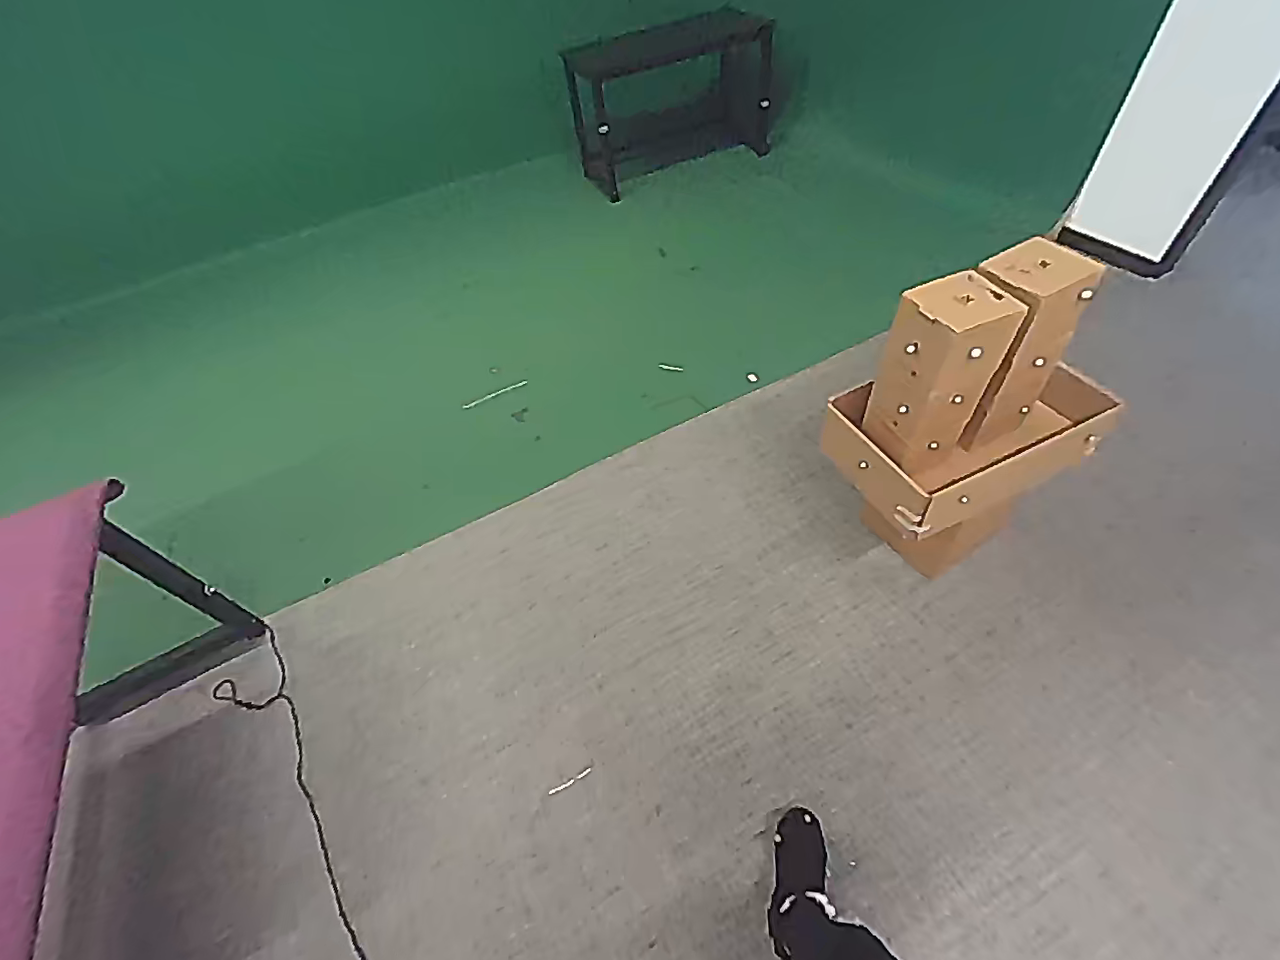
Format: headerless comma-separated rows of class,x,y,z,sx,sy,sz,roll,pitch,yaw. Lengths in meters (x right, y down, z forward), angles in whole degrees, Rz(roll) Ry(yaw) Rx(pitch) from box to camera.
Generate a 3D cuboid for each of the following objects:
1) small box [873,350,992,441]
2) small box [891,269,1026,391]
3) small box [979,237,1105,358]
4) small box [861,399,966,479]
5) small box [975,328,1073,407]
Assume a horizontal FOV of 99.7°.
small box,0.688,-0.221,1.302,0.179,0.176,0.168,-20,52,-9
small box,0.672,-0.320,1.173,0.179,0.176,0.168,-20,53,-7
small box,0.869,-0.409,1.218,0.179,0.176,0.168,-25,52,-9
small box,0.711,-0.129,1.435,0.179,0.176,0.168,-22,52,-10
small box,0.907,-0.314,1.349,0.179,0.176,0.168,-25,52,-8
